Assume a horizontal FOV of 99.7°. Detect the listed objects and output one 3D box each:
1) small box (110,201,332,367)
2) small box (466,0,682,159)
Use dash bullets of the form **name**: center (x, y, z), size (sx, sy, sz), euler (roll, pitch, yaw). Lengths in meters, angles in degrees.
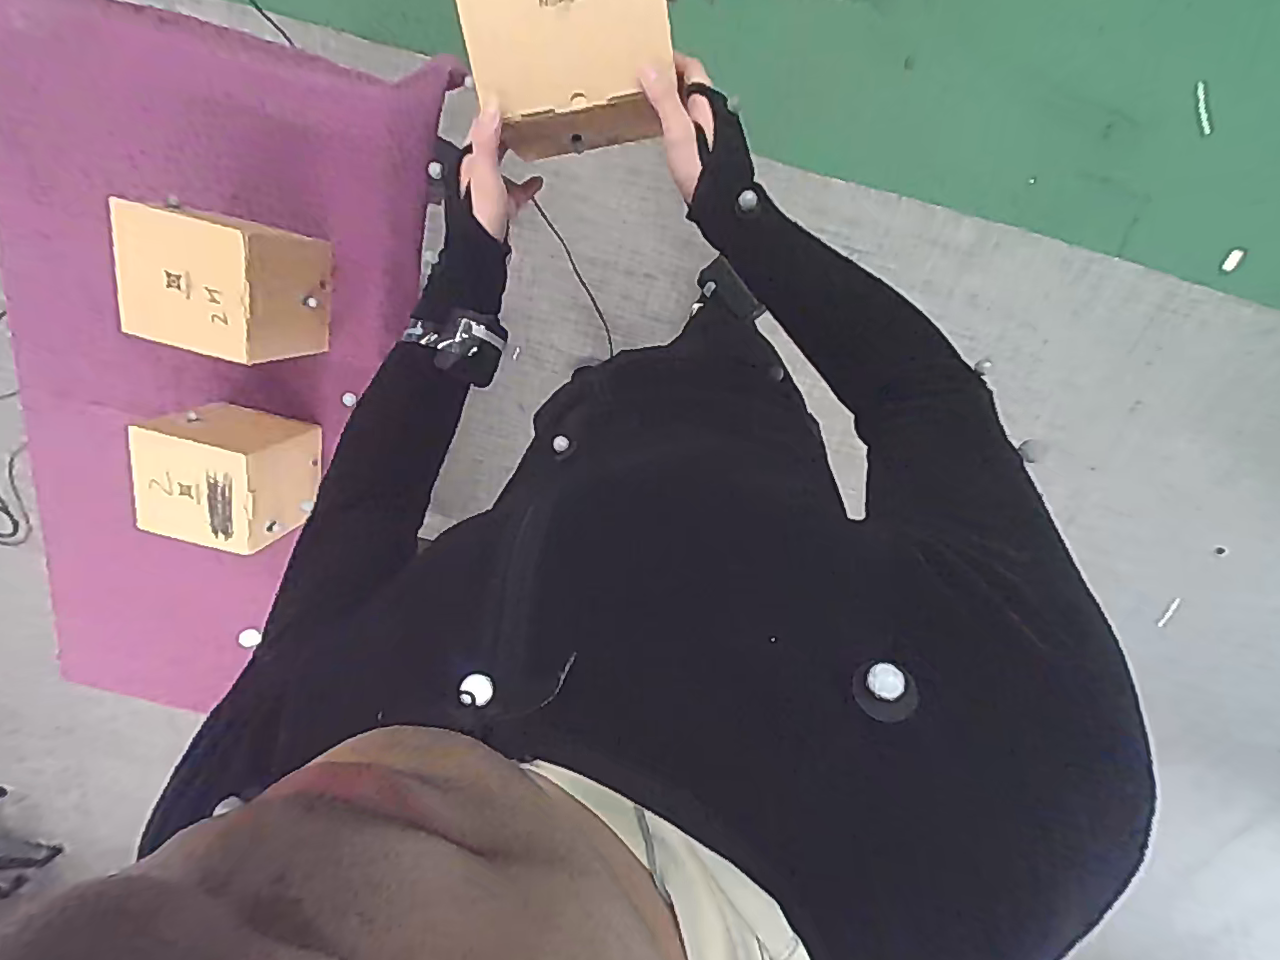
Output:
- **small box**: center (-0.569, -0.268, 0.754), size (0.179, 0.176, 0.168), euler (15, 110, -1)
- **small box**: center (-0.060, -0.419, 0.495), size (0.168, 0.176, 0.179), euler (-9, 113, 2)
